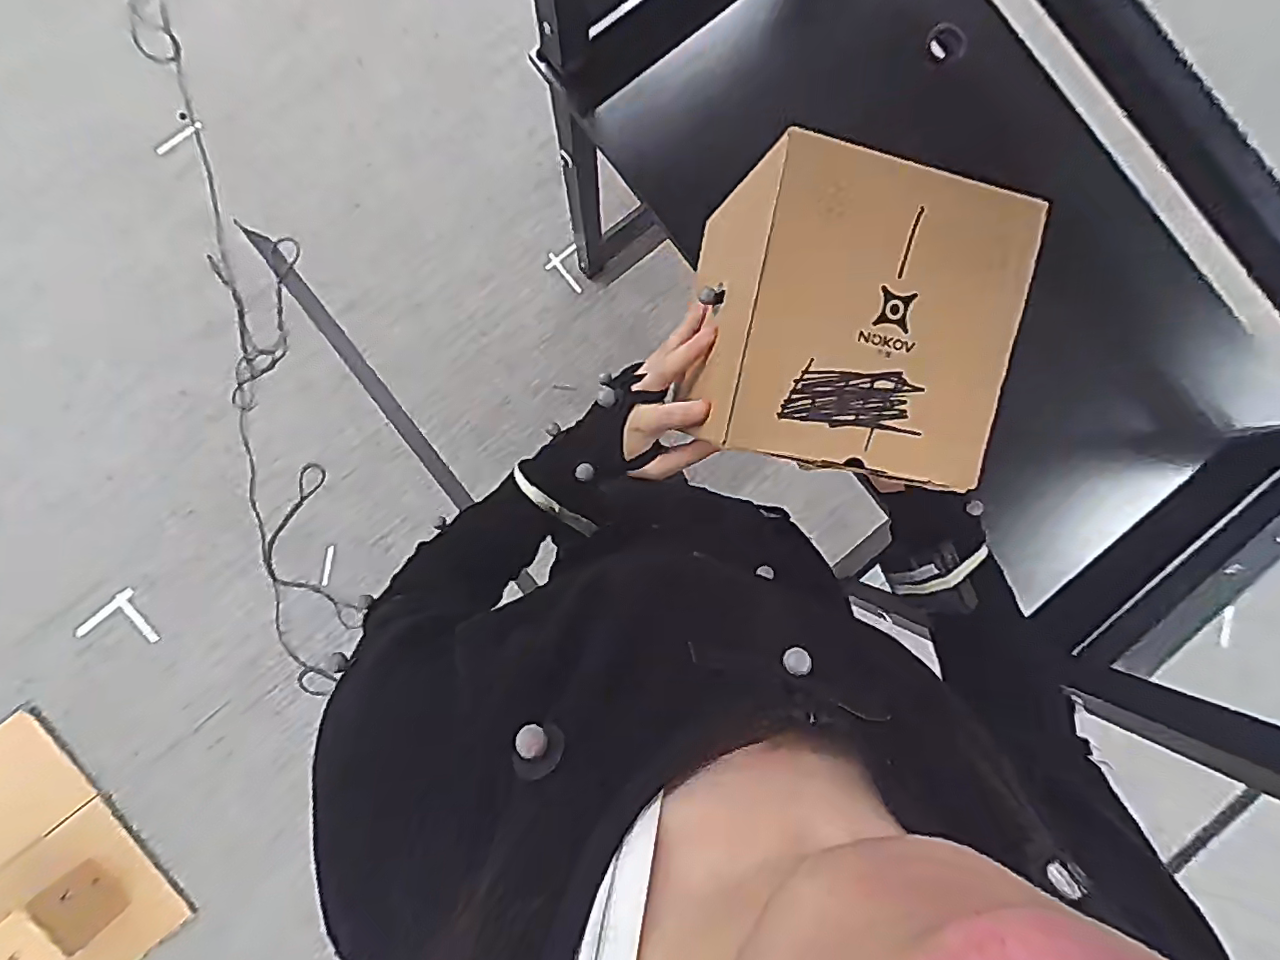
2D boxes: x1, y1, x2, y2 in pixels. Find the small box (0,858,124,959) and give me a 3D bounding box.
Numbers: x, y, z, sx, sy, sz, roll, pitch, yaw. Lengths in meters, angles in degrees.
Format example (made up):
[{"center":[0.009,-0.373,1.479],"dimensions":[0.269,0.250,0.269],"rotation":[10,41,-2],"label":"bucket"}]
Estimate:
[{"center":[-1.421,1.078,1.311],"dimensions":[0.179,0.176,0.168],"rotation":[-41,91,-2],"label":"small box"}]
